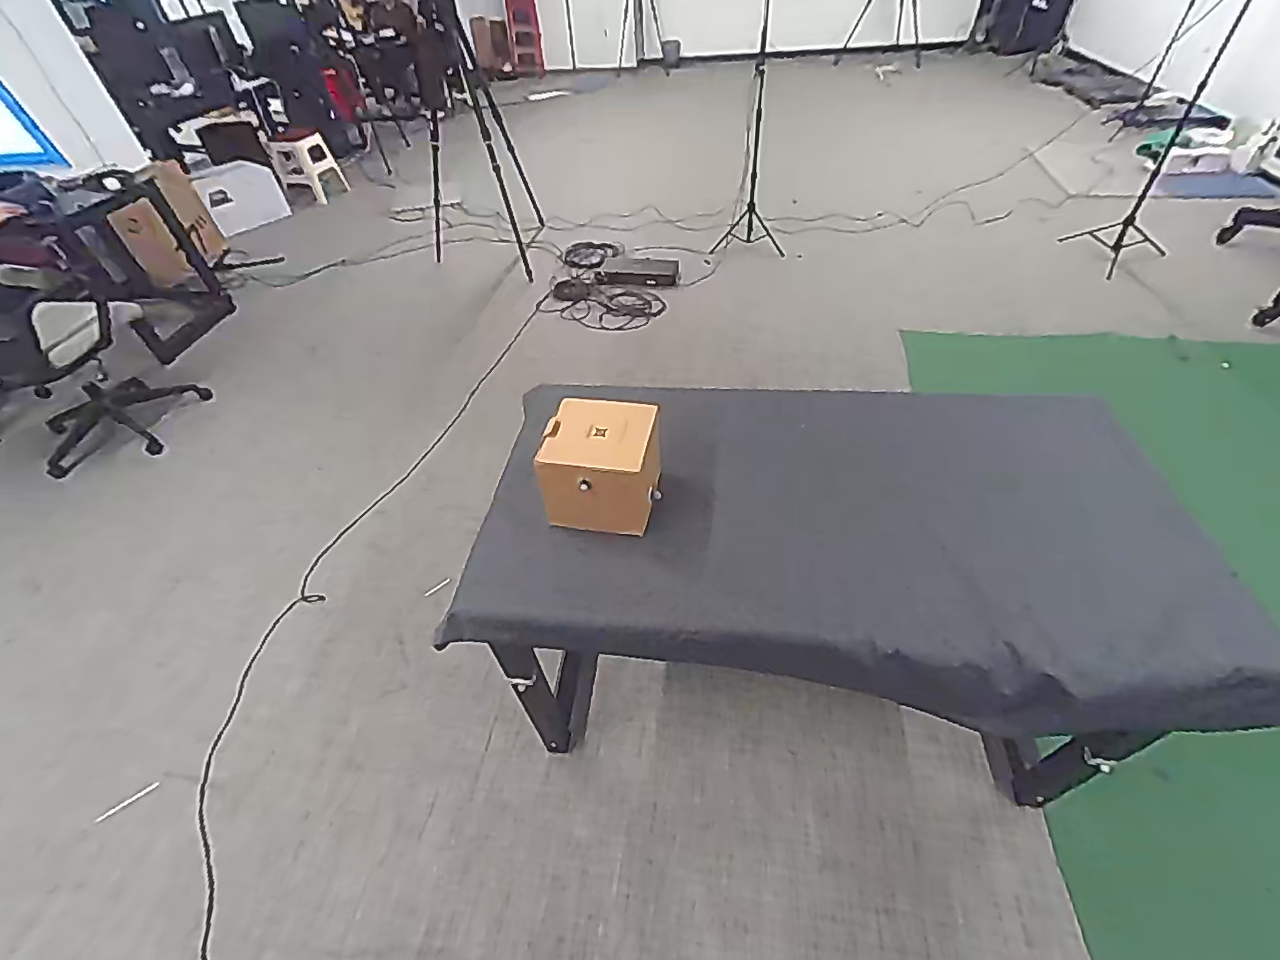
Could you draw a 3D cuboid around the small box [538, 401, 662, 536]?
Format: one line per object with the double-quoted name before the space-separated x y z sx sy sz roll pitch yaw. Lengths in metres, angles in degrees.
"small box" -0.061 -0.019 0.961 0.179 0.176 0.168 7 48 9
